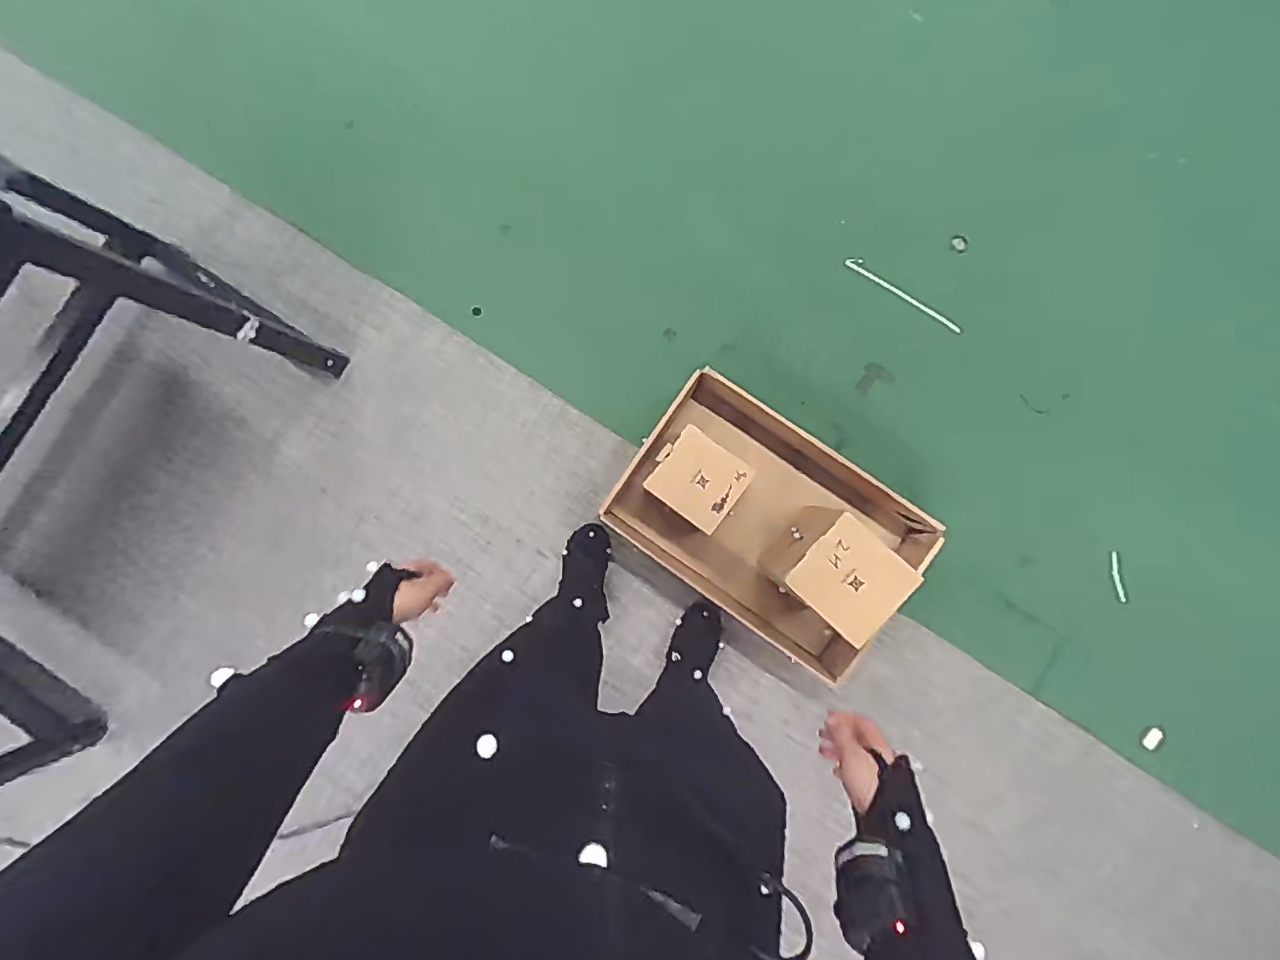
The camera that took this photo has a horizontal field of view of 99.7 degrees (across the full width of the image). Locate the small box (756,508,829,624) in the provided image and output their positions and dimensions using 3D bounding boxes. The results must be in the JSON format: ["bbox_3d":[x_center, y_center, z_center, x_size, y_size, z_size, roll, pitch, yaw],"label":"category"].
[{"bbox_3d":[0.371,0.174,1.164,0.168,0.176,0.179,42,92,4],"label":"small box"}]

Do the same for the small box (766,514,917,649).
[{"bbox_3d":[0.359,0.173,1.000,0.179,0.176,0.168,43,91,4],"label":"small box"}]
